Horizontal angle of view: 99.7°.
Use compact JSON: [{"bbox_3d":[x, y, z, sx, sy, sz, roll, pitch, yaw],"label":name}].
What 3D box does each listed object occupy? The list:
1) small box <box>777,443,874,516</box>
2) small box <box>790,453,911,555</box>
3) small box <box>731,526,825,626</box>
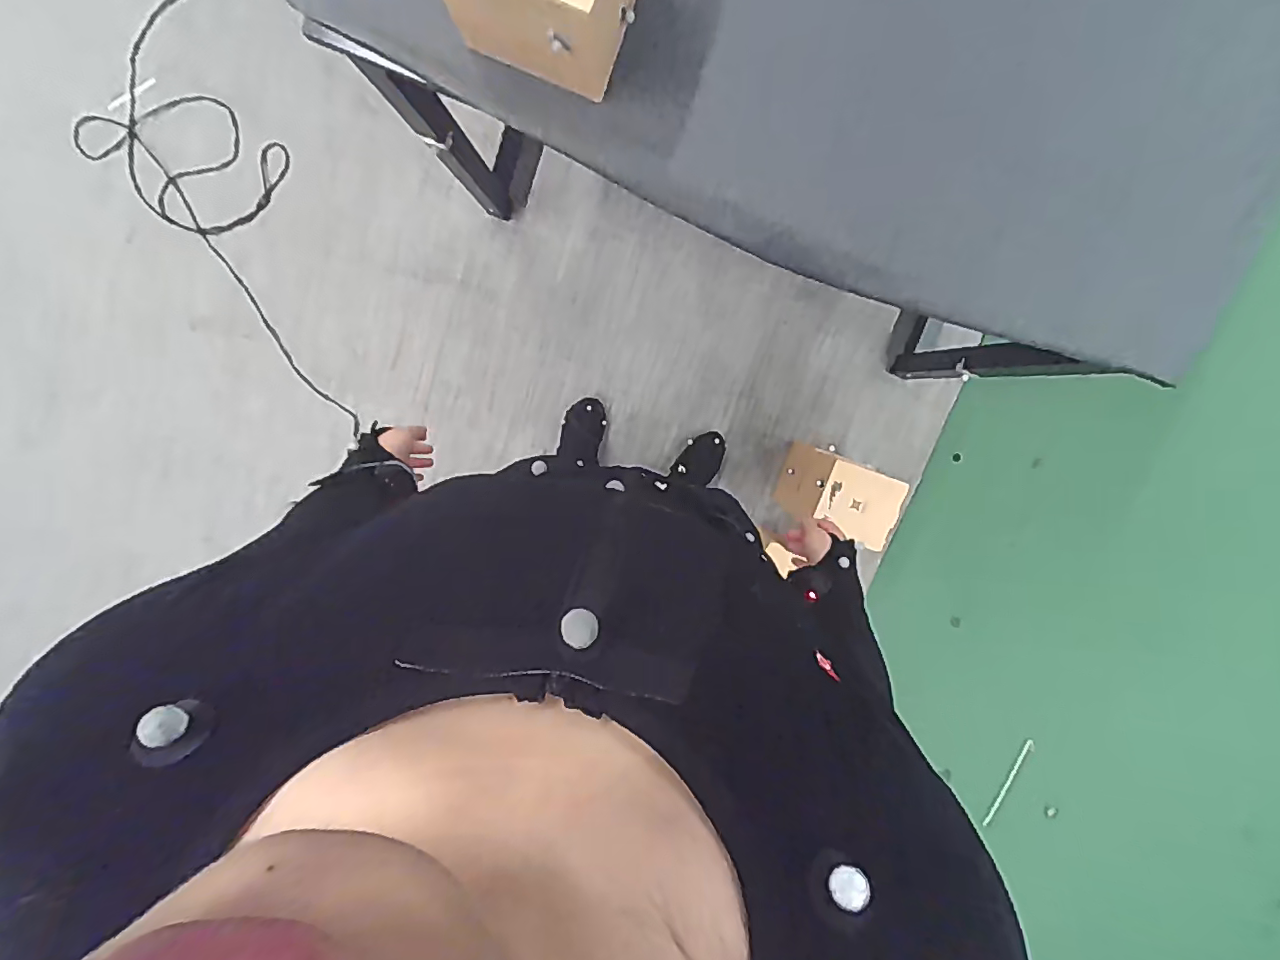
[{"bbox_3d":[0.470,0.014,1.403,0.168,0.176,0.179,18,99,-3],"label":"small box"},{"bbox_3d":[0.472,0.047,1.242,0.179,0.176,0.168,21,101,-4],"label":"small box"},{"bbox_3d":[0.359,0.250,1.445,0.168,0.176,0.179,28,99,-4],"label":"small box"}]
